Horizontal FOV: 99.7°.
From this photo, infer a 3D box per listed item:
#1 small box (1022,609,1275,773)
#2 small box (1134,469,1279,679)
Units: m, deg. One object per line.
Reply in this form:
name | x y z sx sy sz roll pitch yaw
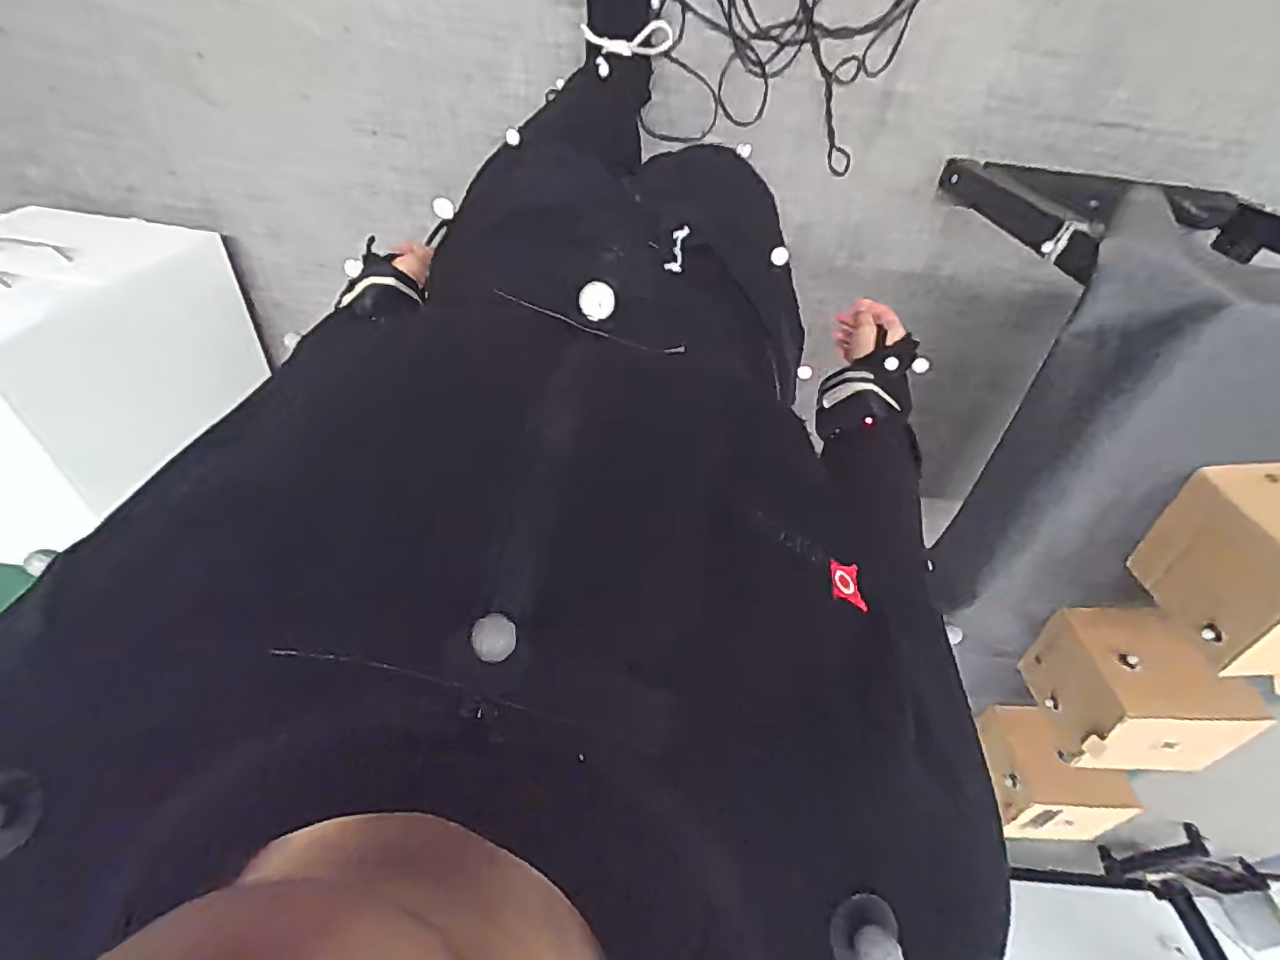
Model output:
small box | 0.703 0.301 0.781 0.179 0.176 0.168 -2 132 4
small box | 0.717 0.098 0.601 0.168 0.176 0.179 -3 131 6
